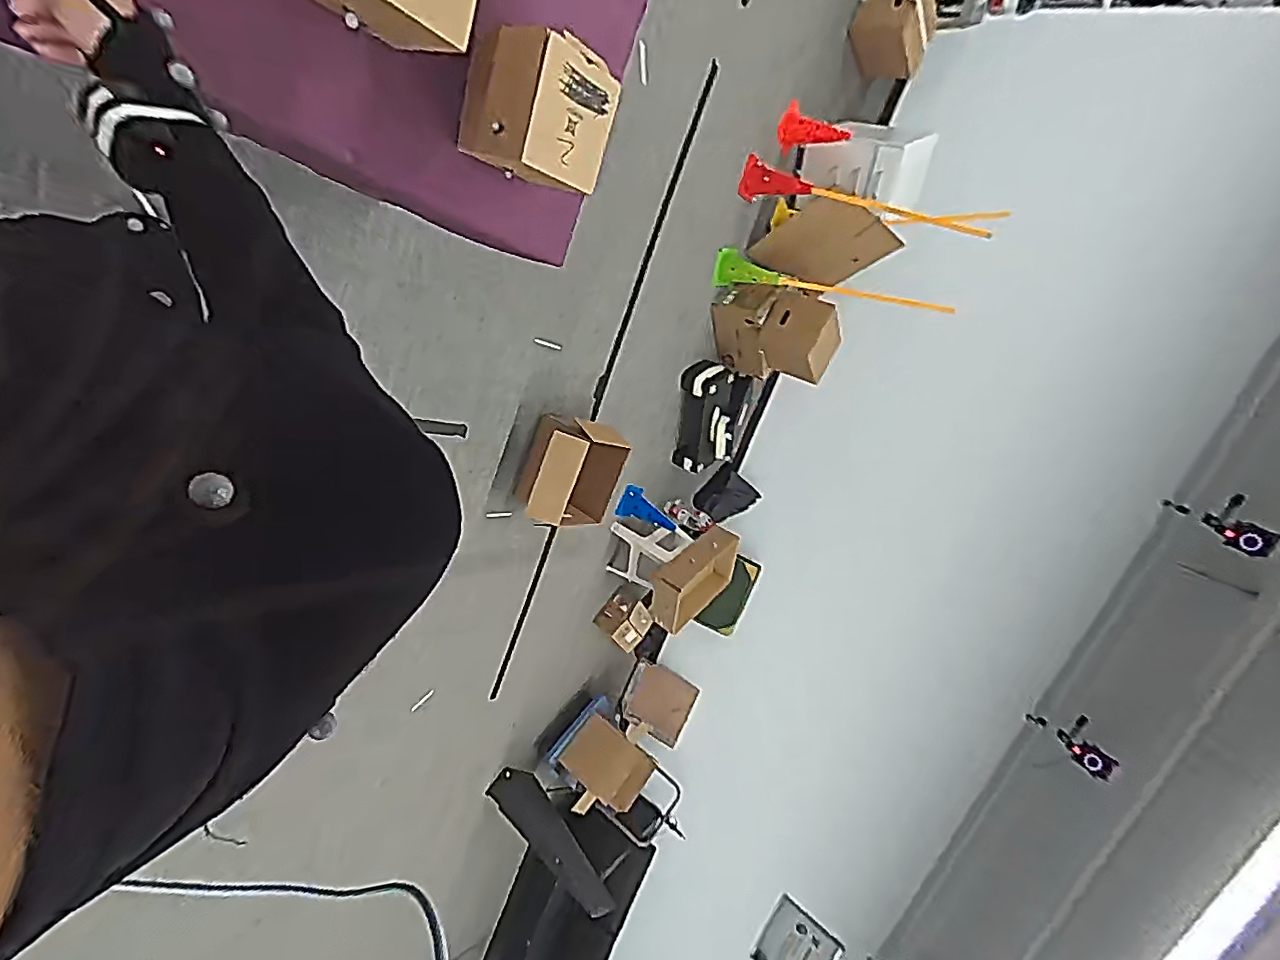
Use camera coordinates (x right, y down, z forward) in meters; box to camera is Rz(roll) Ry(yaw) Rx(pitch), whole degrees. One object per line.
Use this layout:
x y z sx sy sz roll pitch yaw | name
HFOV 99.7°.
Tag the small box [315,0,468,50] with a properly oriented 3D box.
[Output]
-0.314 -0.656 0.640 0.168 0.176 0.179 -9 123 -55 | small box
